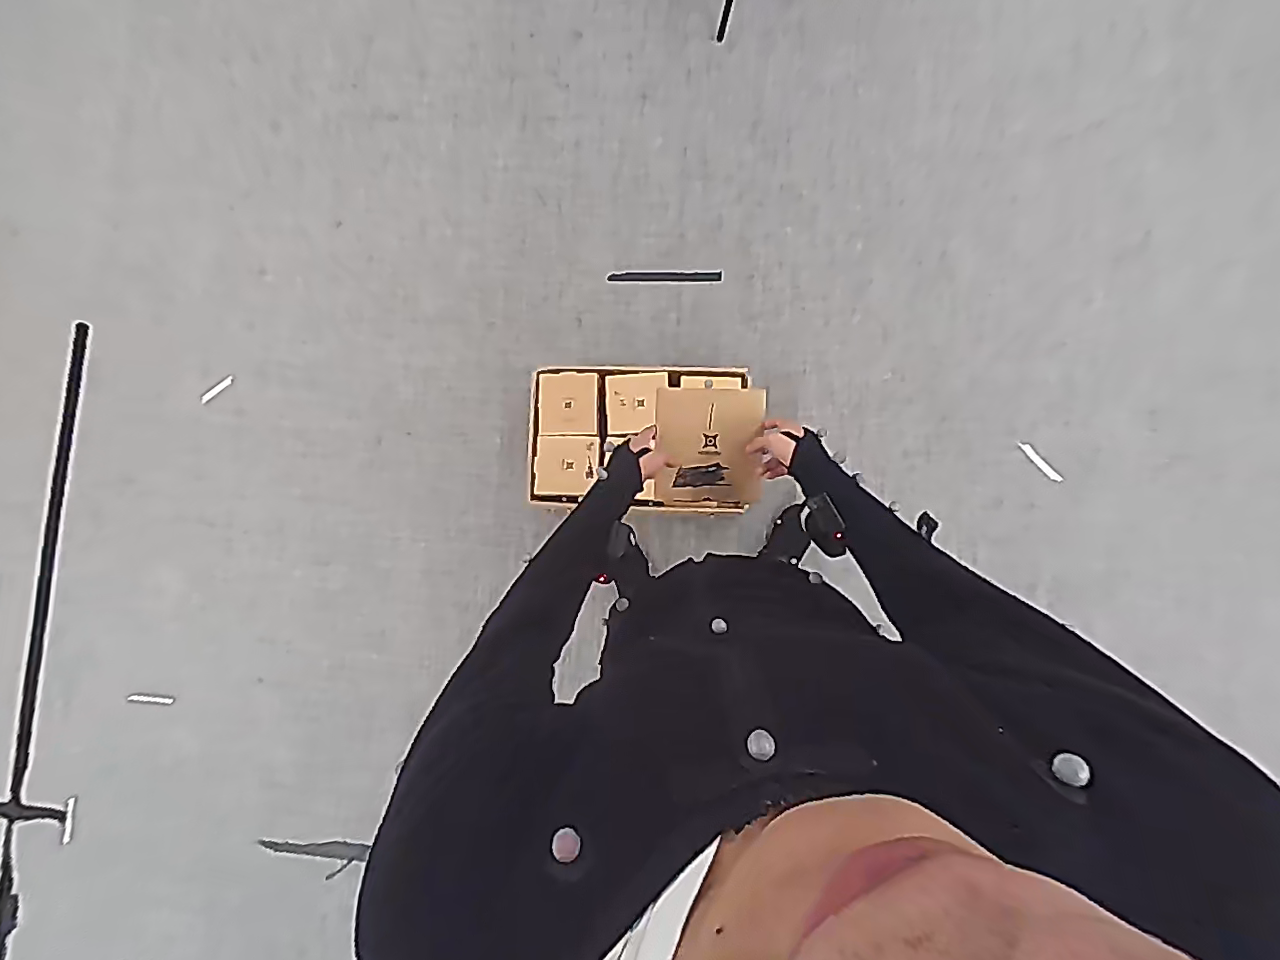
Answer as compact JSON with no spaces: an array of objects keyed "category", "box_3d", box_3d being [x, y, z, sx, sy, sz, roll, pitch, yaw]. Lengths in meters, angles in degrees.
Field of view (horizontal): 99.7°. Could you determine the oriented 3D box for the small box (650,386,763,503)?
[{"category":"small box","box_3d":[0.104,-0.066,0.901,0.168,0.176,0.179,1,99,1]}]
